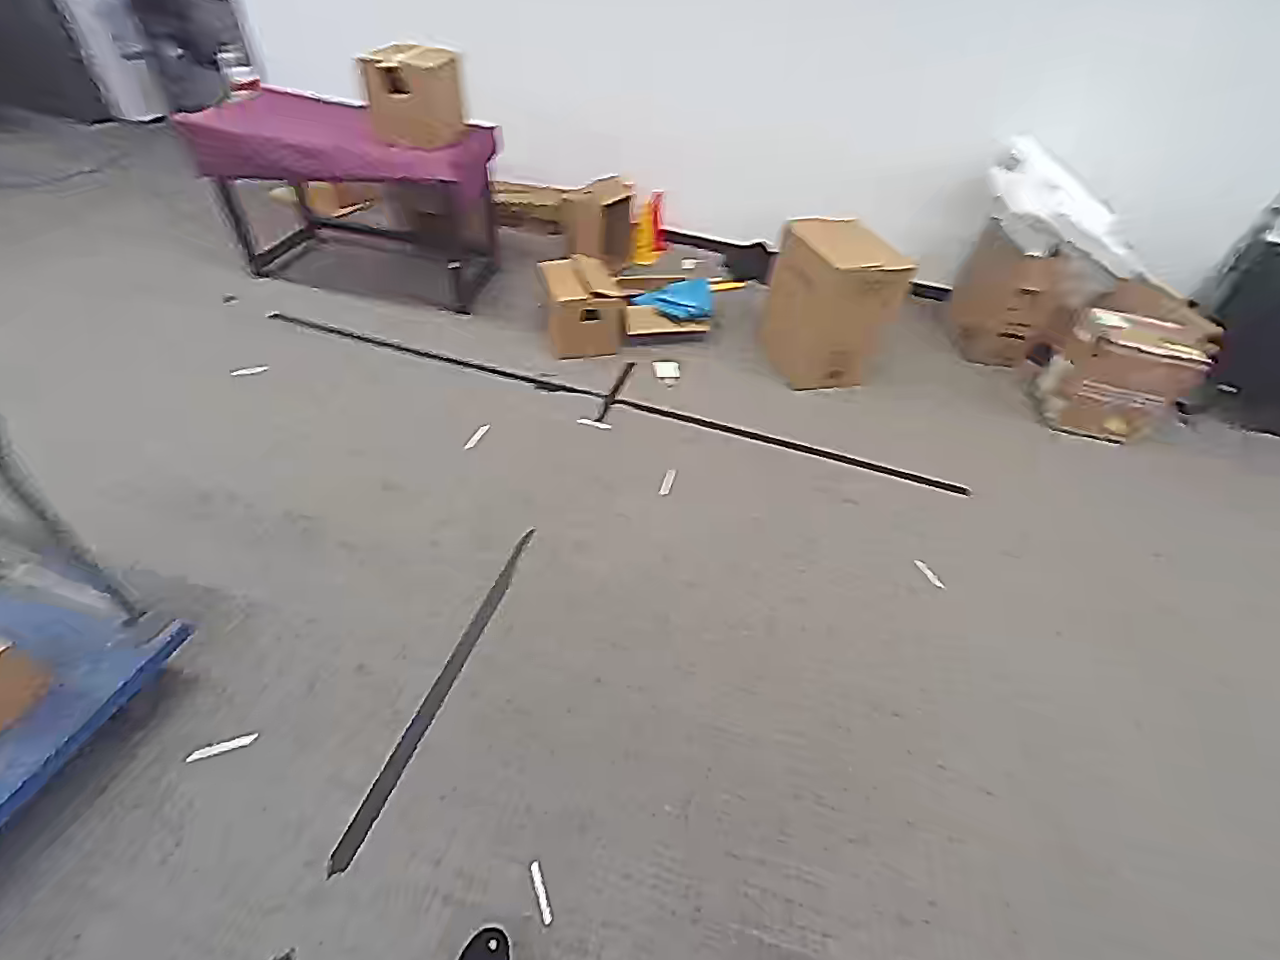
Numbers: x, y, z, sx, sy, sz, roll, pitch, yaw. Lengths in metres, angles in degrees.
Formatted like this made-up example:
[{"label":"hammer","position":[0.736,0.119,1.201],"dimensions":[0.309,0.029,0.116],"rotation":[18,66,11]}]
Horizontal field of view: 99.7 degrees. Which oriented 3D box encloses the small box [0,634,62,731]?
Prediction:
[{"label":"small box","position":[-1.413,0.428,1.140],"dimensions":[0.168,0.176,0.179],"rotation":[17,45,9]}]
